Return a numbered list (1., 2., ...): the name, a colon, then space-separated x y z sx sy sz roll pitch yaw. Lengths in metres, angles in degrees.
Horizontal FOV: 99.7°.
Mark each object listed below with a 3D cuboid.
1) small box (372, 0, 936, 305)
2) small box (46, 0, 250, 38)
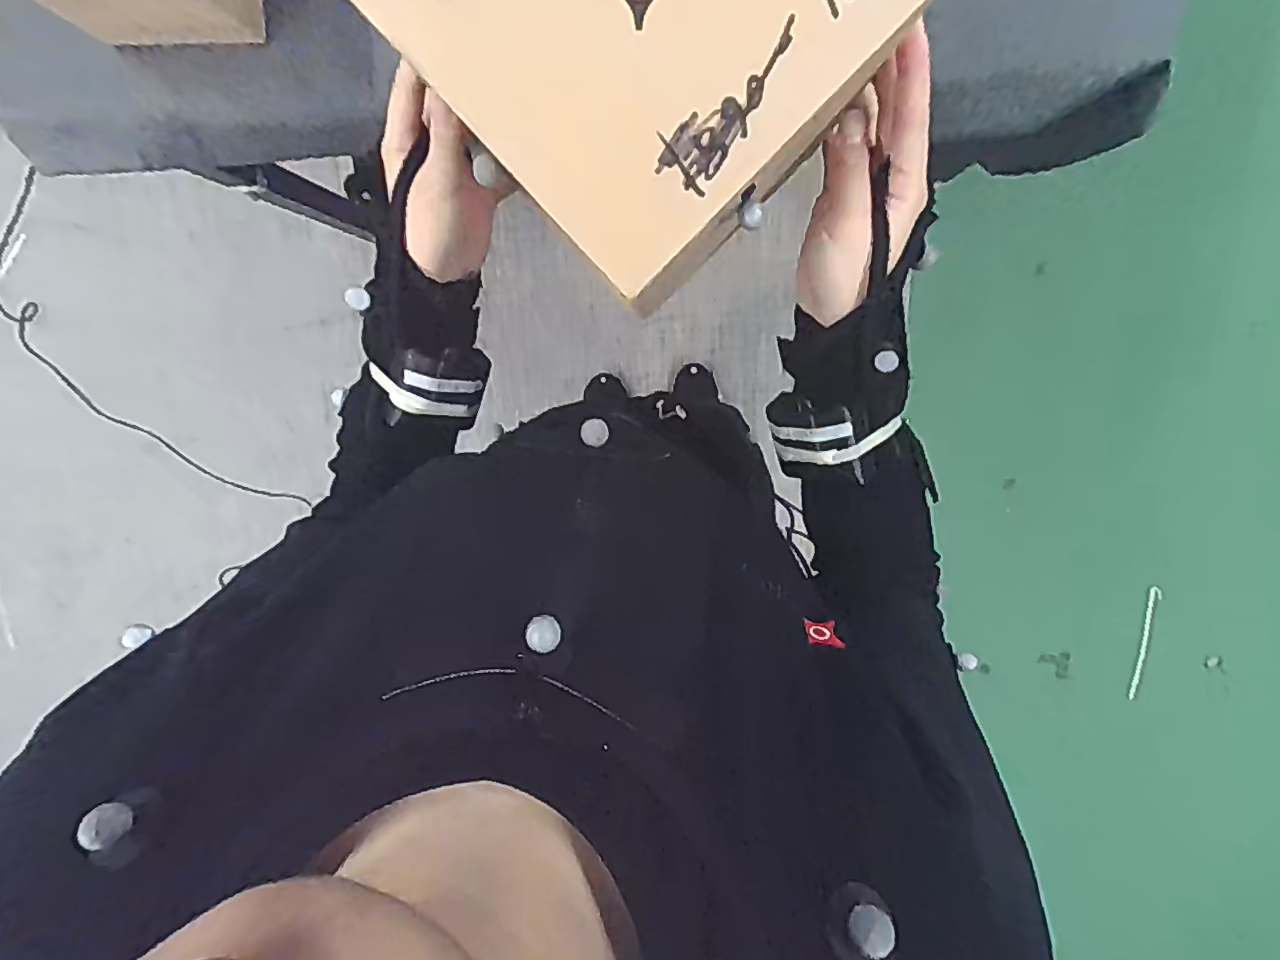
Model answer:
1. small box: 0.001 -0.210 0.276 0.168 0.176 0.179 -42 99 11
2. small box: -0.470 -0.518 0.460 0.179 0.176 0.168 2 100 3
